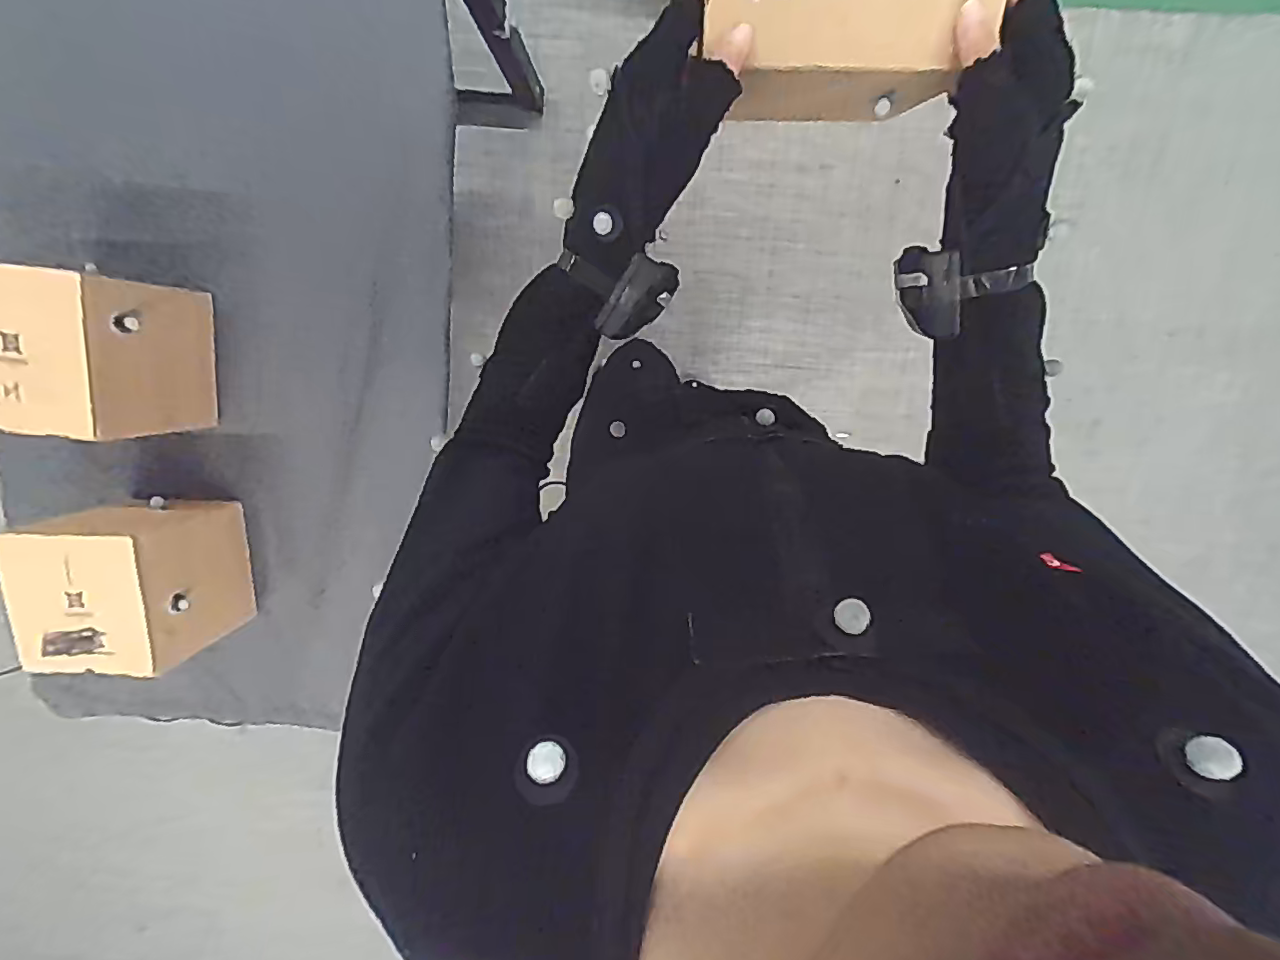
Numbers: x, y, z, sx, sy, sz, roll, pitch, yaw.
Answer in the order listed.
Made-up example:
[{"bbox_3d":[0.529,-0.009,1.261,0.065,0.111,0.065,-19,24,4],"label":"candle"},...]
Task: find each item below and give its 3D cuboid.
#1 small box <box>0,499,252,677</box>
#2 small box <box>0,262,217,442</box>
[{"bbox_3d":[-0.646,0.131,0.704,0.168,0.176,0.179,1,101,2],"label":"small box"},{"bbox_3d":[-0.650,-0.151,0.646,0.168,0.176,0.179,7,102,1],"label":"small box"}]
